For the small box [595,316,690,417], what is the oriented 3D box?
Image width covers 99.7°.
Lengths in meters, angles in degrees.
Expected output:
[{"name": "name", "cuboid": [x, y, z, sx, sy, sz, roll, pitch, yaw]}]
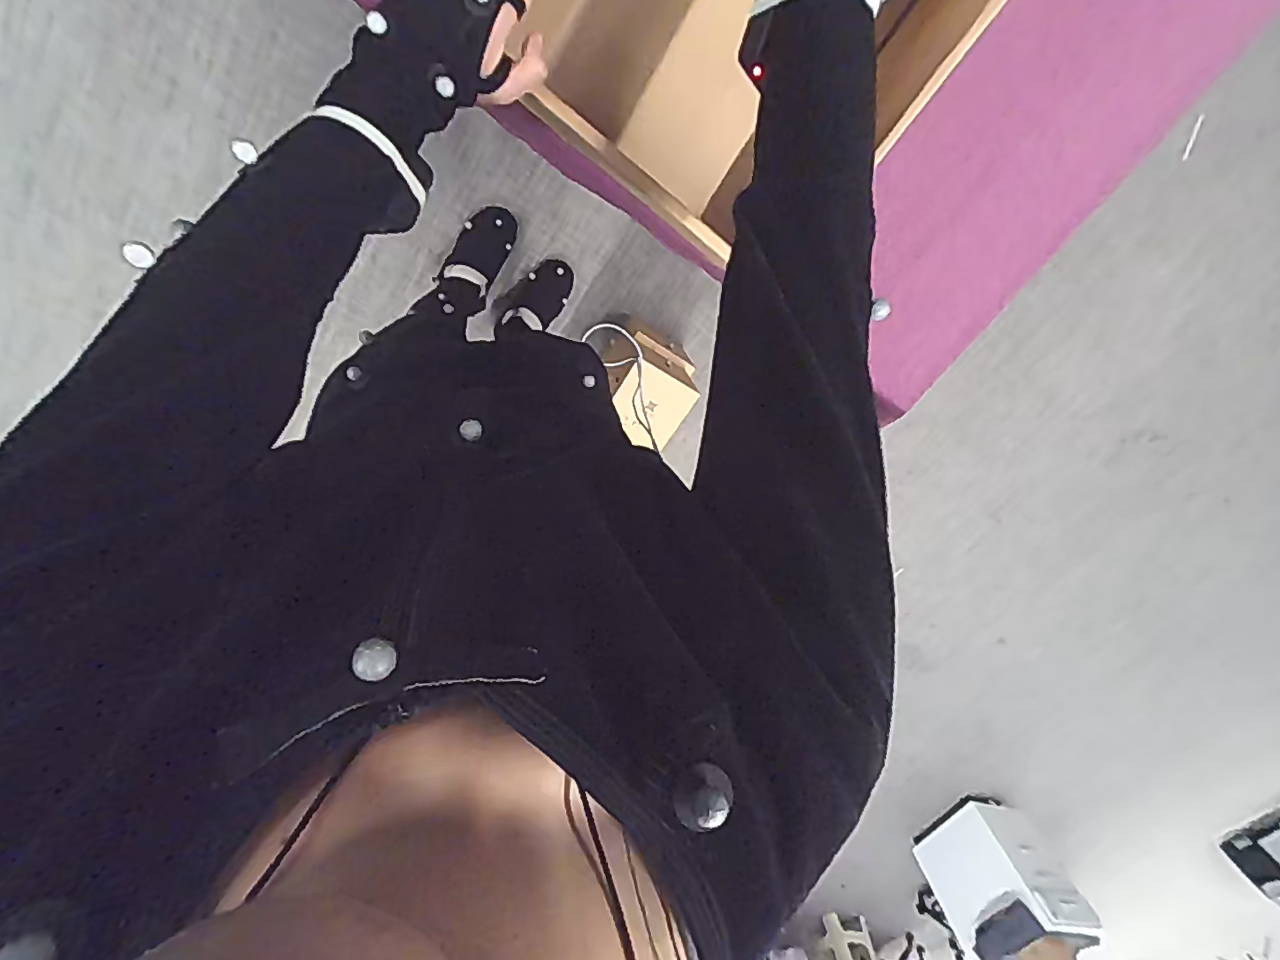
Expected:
[{"name": "small box", "cuboid": [0.001, -0.297, 1.388, 0.179, 0.176, 0.168, 28, 113, -22]}]
